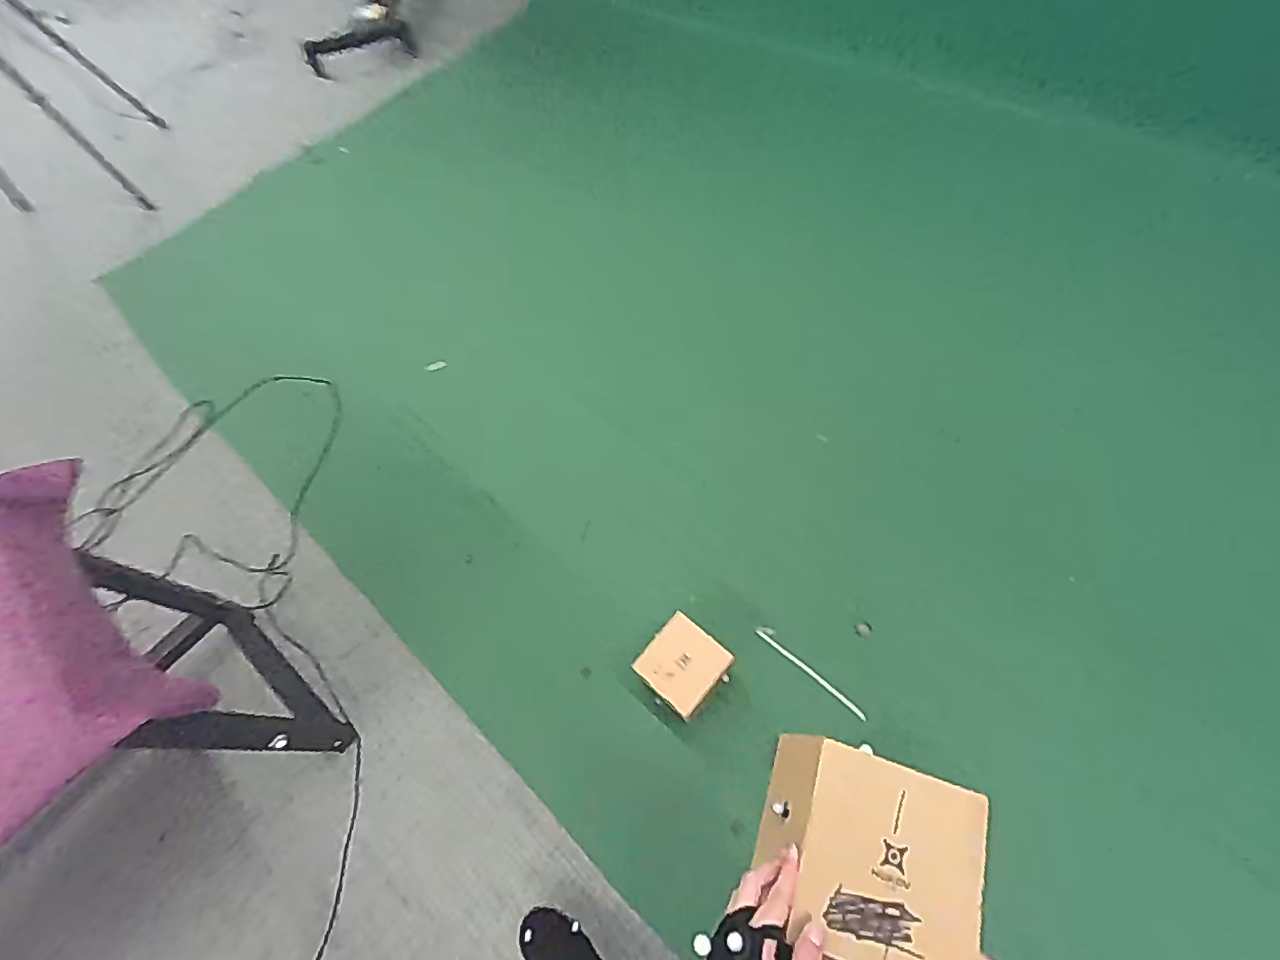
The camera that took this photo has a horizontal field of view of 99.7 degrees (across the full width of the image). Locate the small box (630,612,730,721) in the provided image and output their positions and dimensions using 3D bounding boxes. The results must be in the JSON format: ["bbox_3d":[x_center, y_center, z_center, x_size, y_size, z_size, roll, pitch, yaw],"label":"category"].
[{"bbox_3d":[0.099,0.457,1.315,0.168,0.176,0.179,38,72,24],"label":"small box"}]

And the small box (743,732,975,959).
[{"bbox_3d":[0.216,0.384,0.570,0.168,0.176,0.179,18,66,6],"label":"small box"}]
